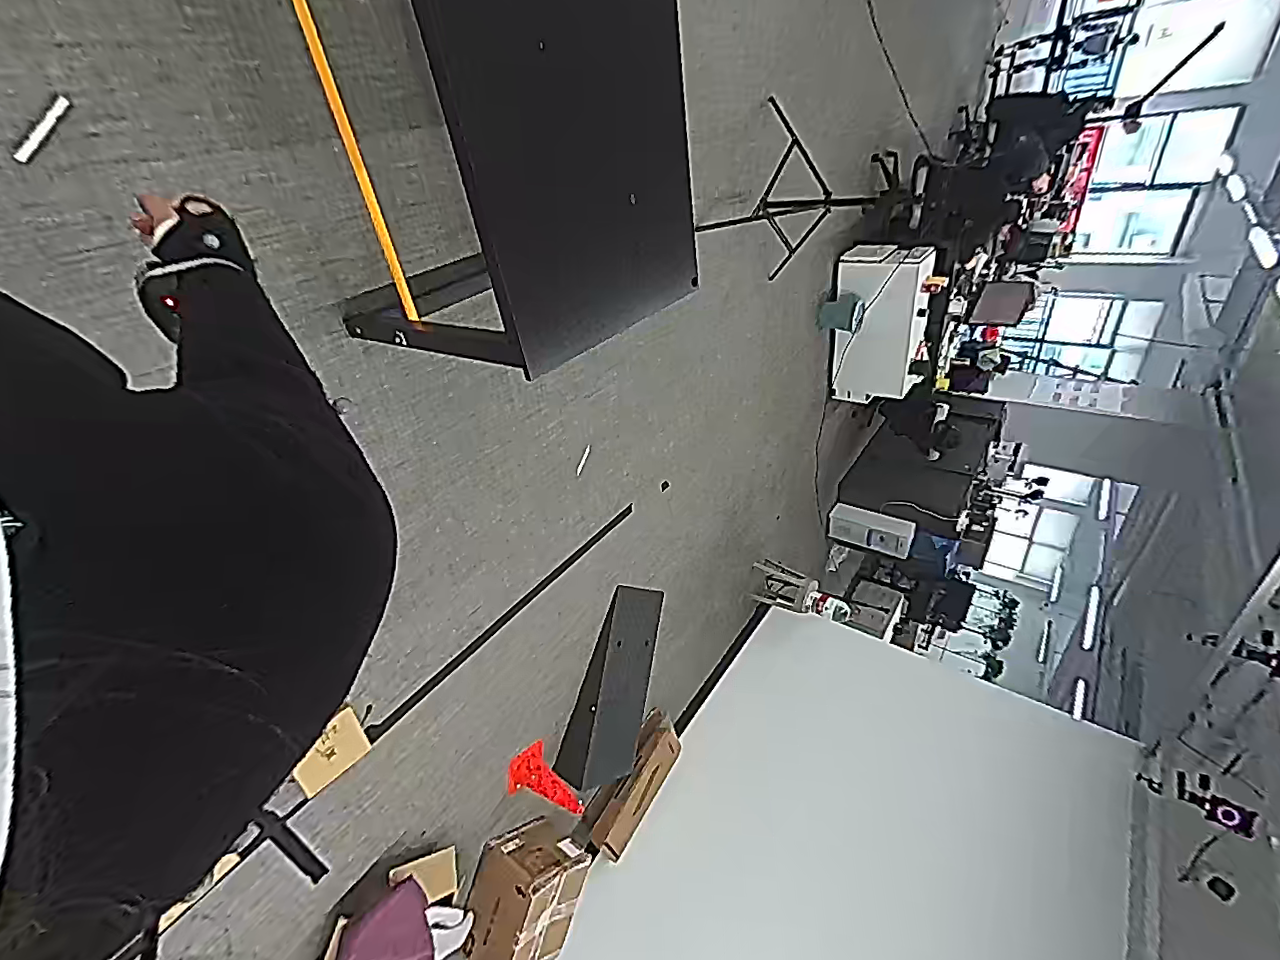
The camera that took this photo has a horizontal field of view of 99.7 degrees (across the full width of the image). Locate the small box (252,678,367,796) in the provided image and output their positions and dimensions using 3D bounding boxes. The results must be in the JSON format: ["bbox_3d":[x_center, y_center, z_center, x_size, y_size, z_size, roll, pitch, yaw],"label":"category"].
[{"bbox_3d":[-0.837,0.644,1.373,0.168,0.176,0.179,-36,131,-42],"label":"small box"}]

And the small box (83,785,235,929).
[{"bbox_3d":[-1.039,0.806,1.171,0.168,0.176,0.179,-43,135,-38],"label":"small box"}]
